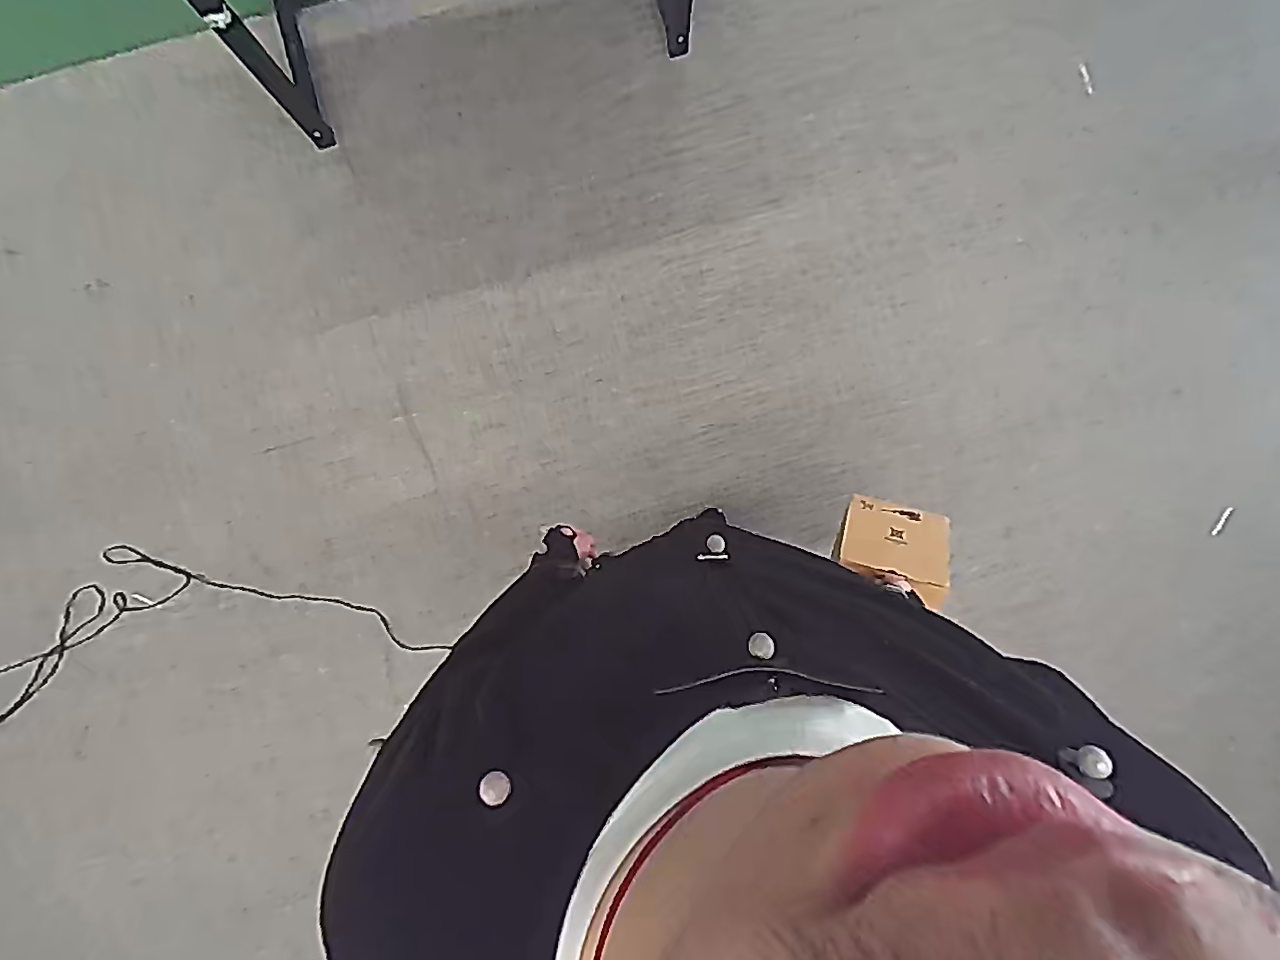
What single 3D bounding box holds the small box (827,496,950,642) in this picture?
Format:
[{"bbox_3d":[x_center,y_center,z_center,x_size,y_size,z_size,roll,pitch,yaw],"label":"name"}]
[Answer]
[{"bbox_3d":[0.434,0.158,0.958,0.168,0.176,0.179,11,42,18],"label":"small box"}]
